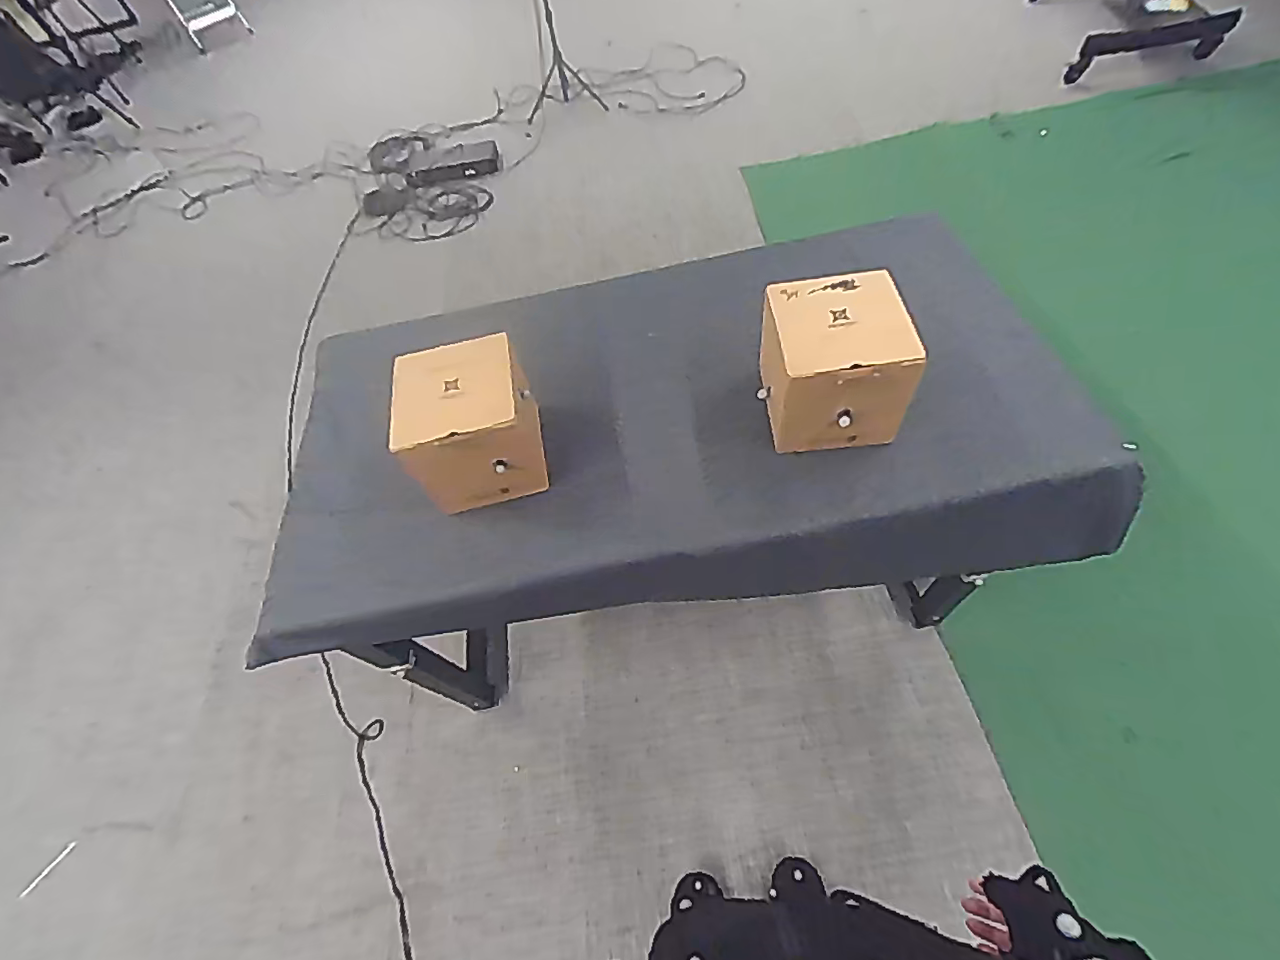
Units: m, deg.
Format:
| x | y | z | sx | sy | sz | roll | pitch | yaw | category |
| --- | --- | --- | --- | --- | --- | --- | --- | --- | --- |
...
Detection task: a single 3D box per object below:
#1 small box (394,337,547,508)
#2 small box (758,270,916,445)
| x | y | z | sx | sy | sz | roll | pitch | yaw | category |
| --- | --- | --- | --- | --- | --- | --- | --- | --- | --- |
| -0.244 | -0.075 | 0.804 | 0.168 | 0.176 | 0.179 | -14 | 56 | -2 | small box |
| 0.265 | -0.163 | 0.770 | 0.168 | 0.176 | 0.179 | -6 | 58 | 6 | small box |
